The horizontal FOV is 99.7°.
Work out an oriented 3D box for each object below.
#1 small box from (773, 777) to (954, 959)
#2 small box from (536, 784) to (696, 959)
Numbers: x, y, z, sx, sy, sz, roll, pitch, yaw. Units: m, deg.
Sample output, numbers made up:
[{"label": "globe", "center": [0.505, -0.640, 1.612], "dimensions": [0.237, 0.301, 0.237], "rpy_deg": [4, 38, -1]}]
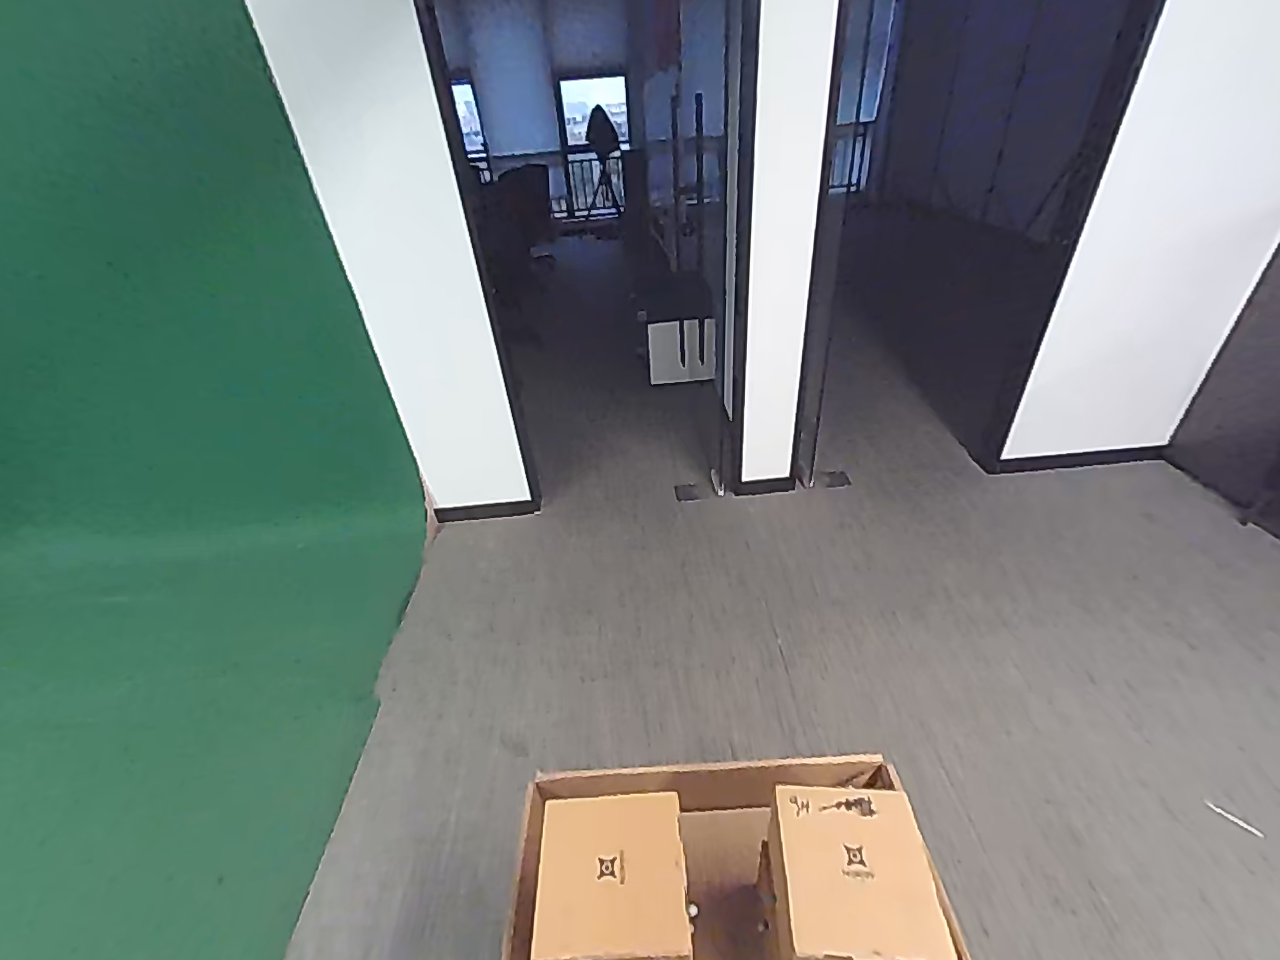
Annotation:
[{"label": "small box", "center": [0.259, 0.502, 0.673], "dimensions": [0.168, 0.176, 0.179], "rpy_deg": [-1, 36, 8]}, {"label": "small box", "center": [-0.023, 0.520, 0.694], "dimensions": [0.179, 0.176, 0.168], "rpy_deg": [-4, 35, 1]}]
